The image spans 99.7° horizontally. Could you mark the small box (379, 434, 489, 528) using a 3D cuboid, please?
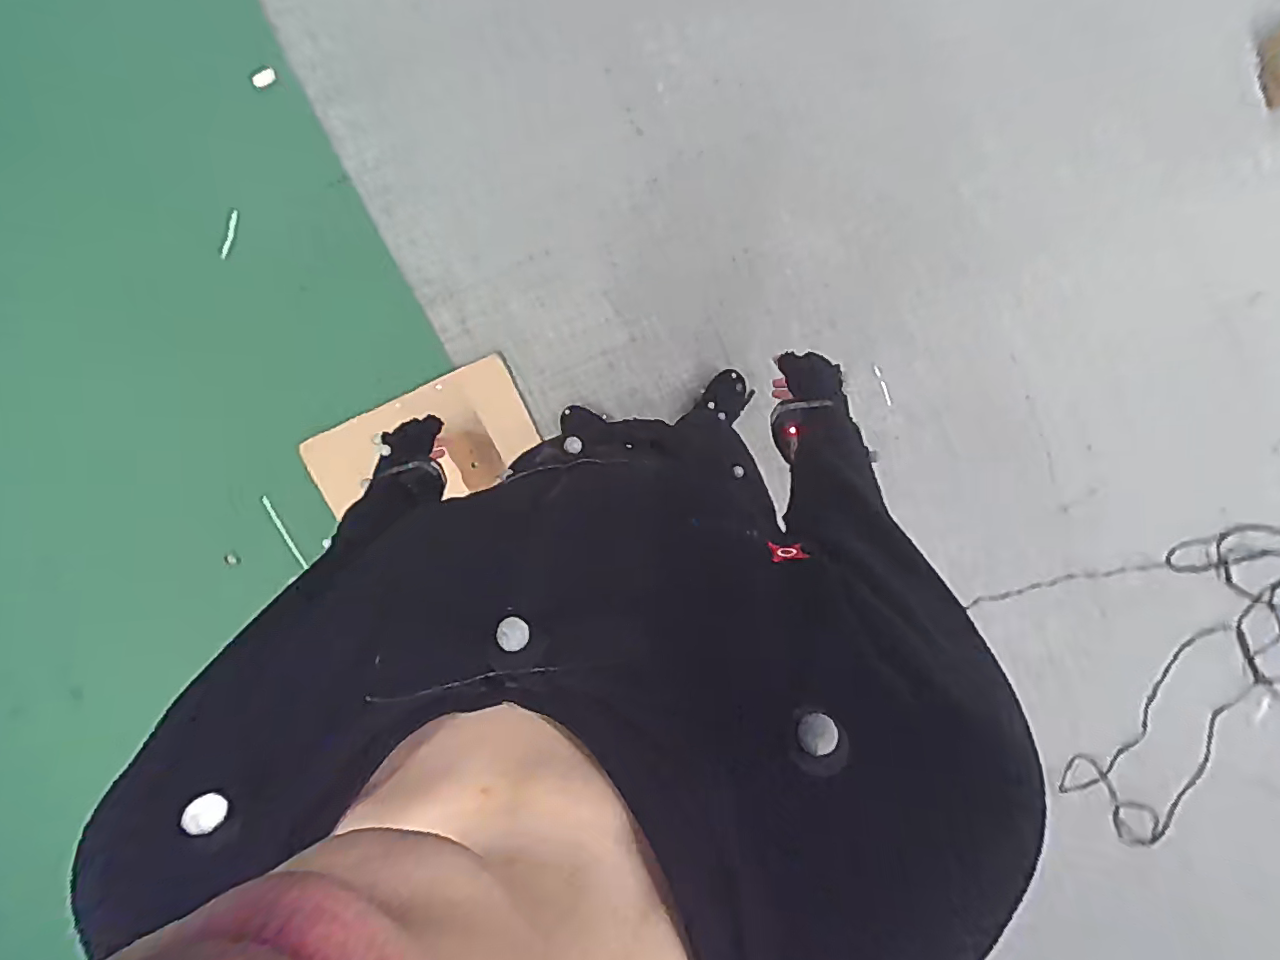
[{"bbox_3d":[-0.514,-0.003,1.376,0.179,0.176,0.168,-26,100,4],"label":"small box"}]

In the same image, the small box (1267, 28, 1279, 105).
[{"bbox_3d":[1.581,-0.991,1.214,0.179,0.176,0.168,-20,100,4],"label":"small box"}]
